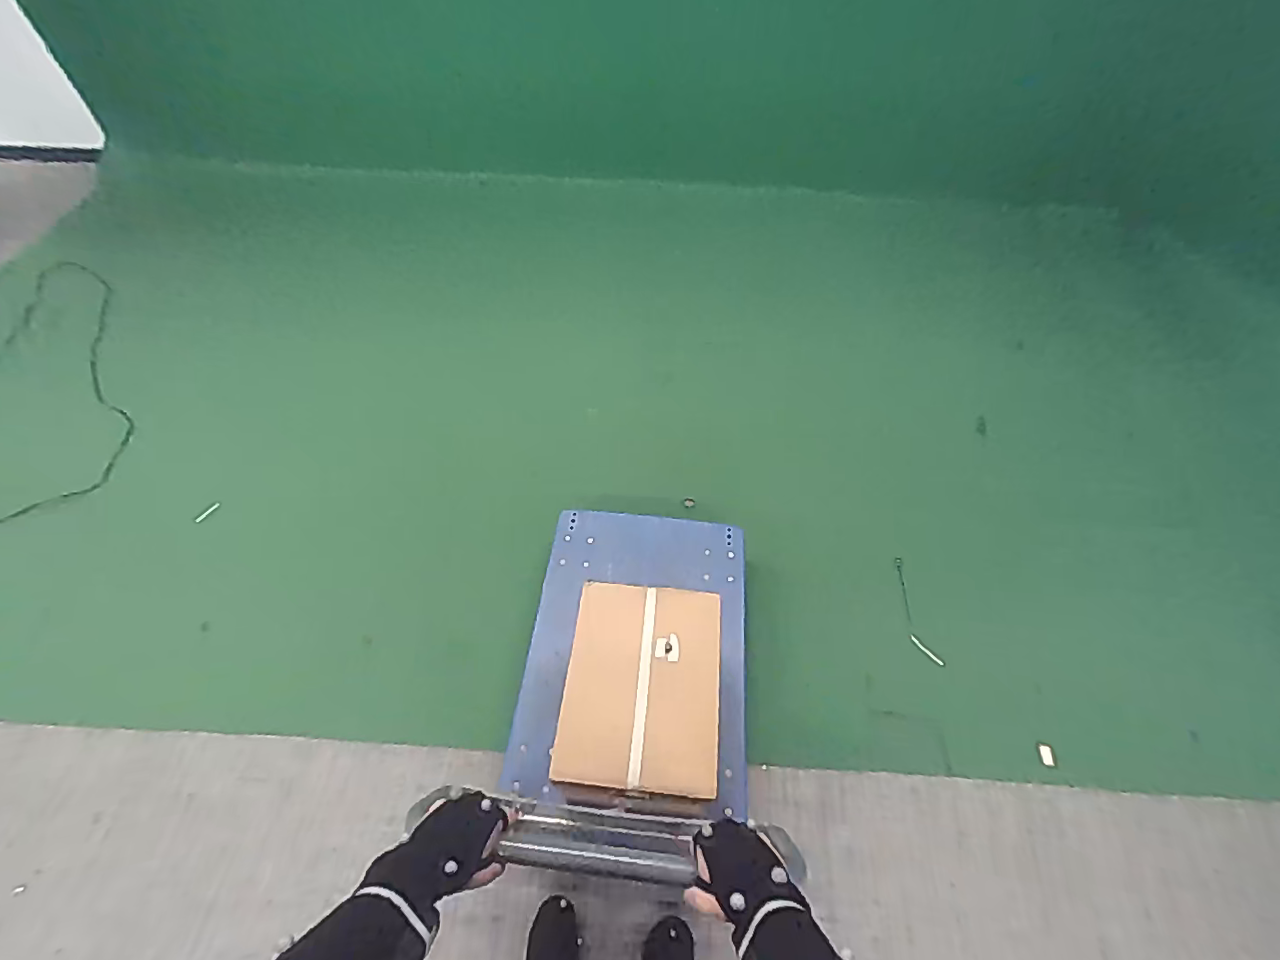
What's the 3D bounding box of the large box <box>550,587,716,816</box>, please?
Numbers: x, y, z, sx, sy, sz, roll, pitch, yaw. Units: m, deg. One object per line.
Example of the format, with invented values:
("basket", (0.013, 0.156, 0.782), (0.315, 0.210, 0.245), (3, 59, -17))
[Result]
("large box", (-0.001, 0.504, 1.226), (0.320, 0.320, 0.408), (5, 53, 2))
